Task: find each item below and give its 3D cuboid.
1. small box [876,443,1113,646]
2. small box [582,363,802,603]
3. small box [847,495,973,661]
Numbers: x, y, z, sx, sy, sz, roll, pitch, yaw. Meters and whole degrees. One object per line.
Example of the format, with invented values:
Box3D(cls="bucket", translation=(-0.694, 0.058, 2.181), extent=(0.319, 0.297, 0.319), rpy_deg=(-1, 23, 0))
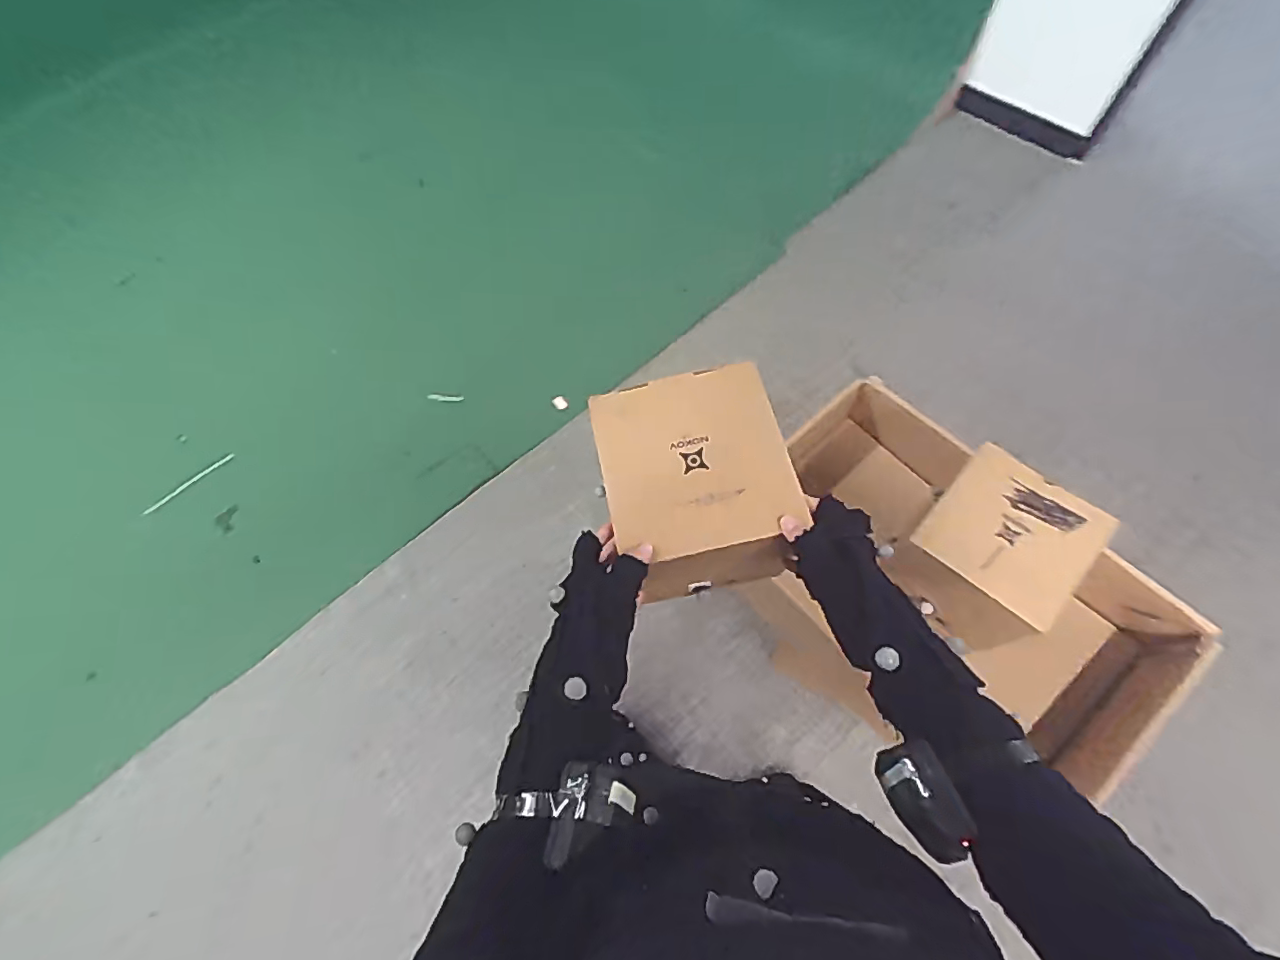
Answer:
Box3D(cls="small box", translation=(0.441, 0.090, 0.707), extent=(0.168, 0.176, 0.179), rpy_deg=(40, 76, 21))
Box3D(cls="small box", translation=(0.046, 0.012, 0.559), extent=(0.168, 0.176, 0.179), rpy_deg=(-14, 67, 0))
Box3D(cls="small box", translation=(0.455, 0.160, 0.856), extent=(0.168, 0.176, 0.179), rpy_deg=(39, 74, 22))
